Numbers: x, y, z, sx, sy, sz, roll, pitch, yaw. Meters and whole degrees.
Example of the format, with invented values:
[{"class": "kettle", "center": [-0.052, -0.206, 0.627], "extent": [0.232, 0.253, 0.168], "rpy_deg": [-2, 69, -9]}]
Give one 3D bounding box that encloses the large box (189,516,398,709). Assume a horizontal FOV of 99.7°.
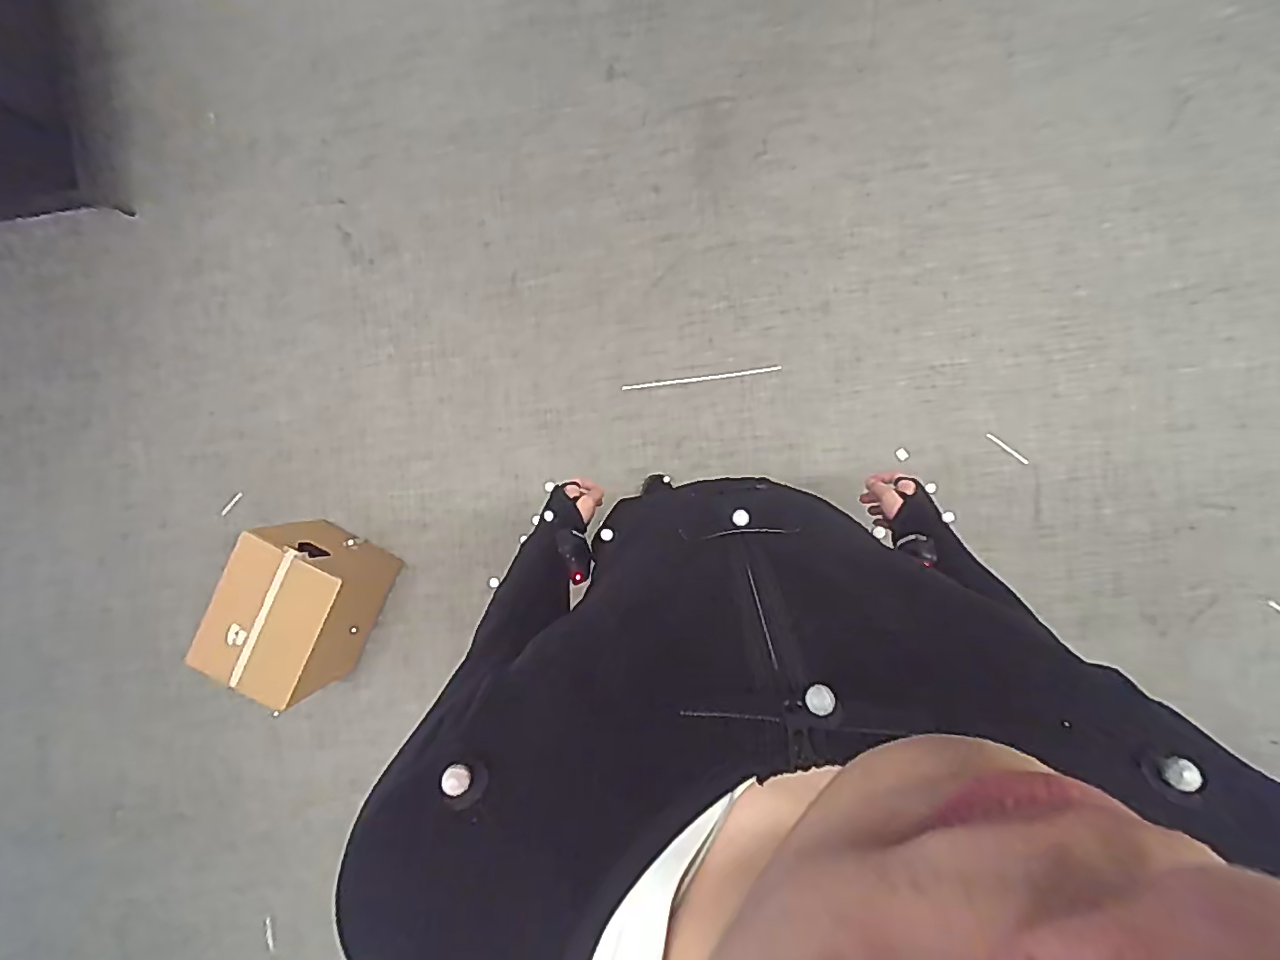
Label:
[{"class": "large box", "center": [-0.983, 0.359, 1.575], "extent": [0.320, 0.320, 0.408], "rpy_deg": [26, 94, 4]}]
